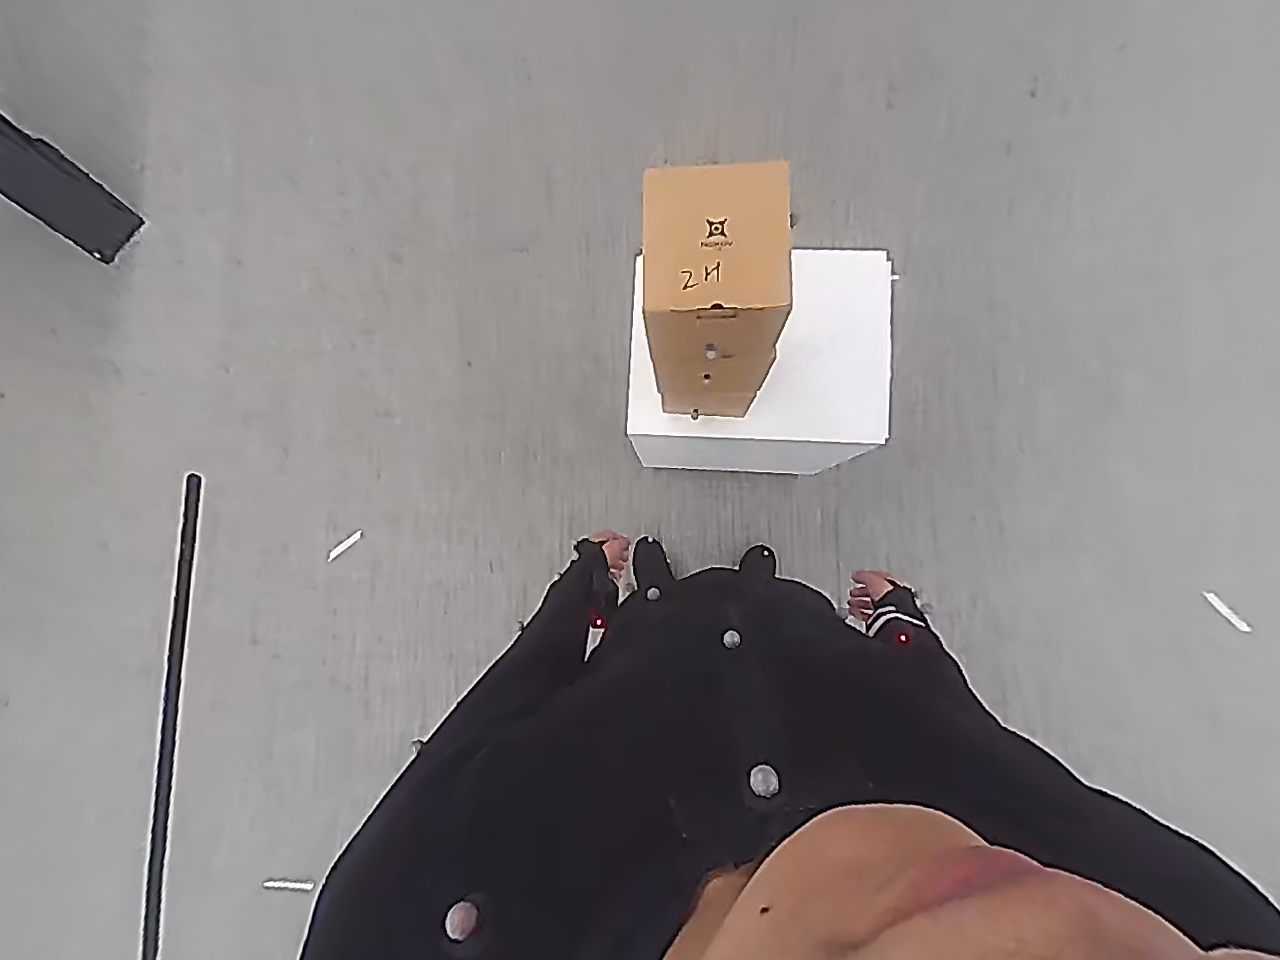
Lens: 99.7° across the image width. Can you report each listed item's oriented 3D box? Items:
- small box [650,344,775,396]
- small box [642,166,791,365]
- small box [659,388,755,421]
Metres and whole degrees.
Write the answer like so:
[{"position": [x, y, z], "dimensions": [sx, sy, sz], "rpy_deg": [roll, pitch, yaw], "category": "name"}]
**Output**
[{"position": [0.107, -0.233, 0.844], "dimensions": [0.179, 0.176, 0.168], "rpy_deg": [-1, 83, 5], "category": "small box"}, {"position": [0.089, -0.258, 0.681], "dimensions": [0.168, 0.176, 0.179], "rpy_deg": [-1, 83, 5], "category": "small box"}, {"position": [0.123, -0.217, 1.006], "dimensions": [0.168, 0.176, 0.179], "rpy_deg": [3, 84, 4], "category": "small box"}]
